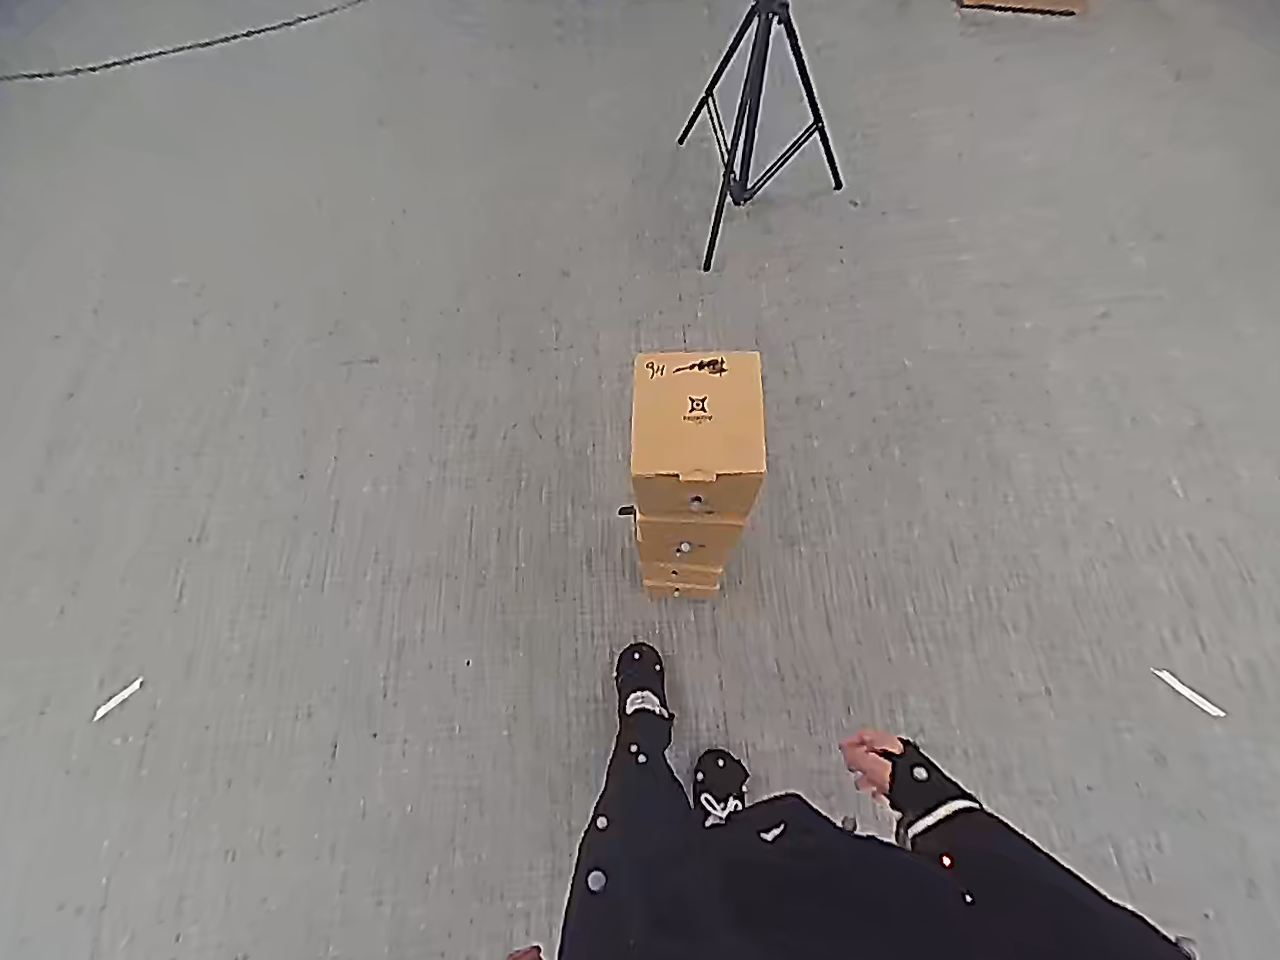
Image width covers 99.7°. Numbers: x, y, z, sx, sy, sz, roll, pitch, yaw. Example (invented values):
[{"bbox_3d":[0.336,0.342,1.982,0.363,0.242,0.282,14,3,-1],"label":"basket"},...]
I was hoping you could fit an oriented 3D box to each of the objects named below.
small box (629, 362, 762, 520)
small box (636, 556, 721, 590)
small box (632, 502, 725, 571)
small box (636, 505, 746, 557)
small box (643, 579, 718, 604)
[{"bbox_3d":[0.076,-0.046,0.758,0.168,0.176,0.179,0,70,4],"label":"small box"},{"bbox_3d":[0.093,0.146,1.209,0.179,0.176,0.168,5,70,6],"label":"small box"},{"bbox_3d":[0.083,0.079,1.061,0.179,0.176,0.168,3,70,4],"label":"small box"},{"bbox_3d":[0.086,0.022,0.907,0.168,0.176,0.179,2,70,5],"label":"small box"},{"bbox_3d":[0.103,0.214,1.358,0.179,0.176,0.168,2,69,4],"label":"small box"}]
